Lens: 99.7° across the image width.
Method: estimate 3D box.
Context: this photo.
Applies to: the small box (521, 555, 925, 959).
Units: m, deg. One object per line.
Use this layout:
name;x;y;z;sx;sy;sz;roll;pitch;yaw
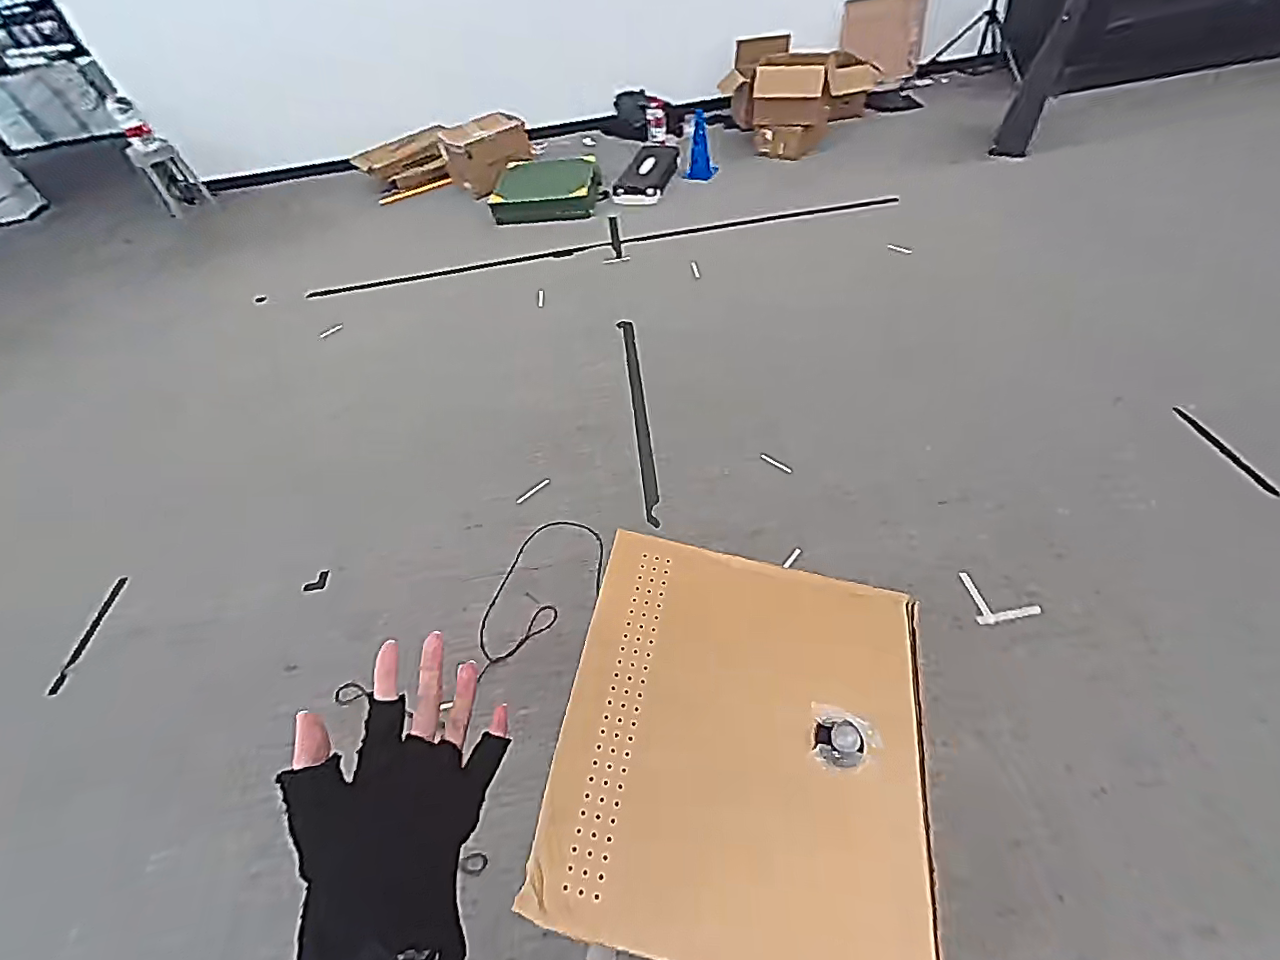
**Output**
small box;0.040;0.165;0.325;0.176;0.168;0.179;12;56;5
